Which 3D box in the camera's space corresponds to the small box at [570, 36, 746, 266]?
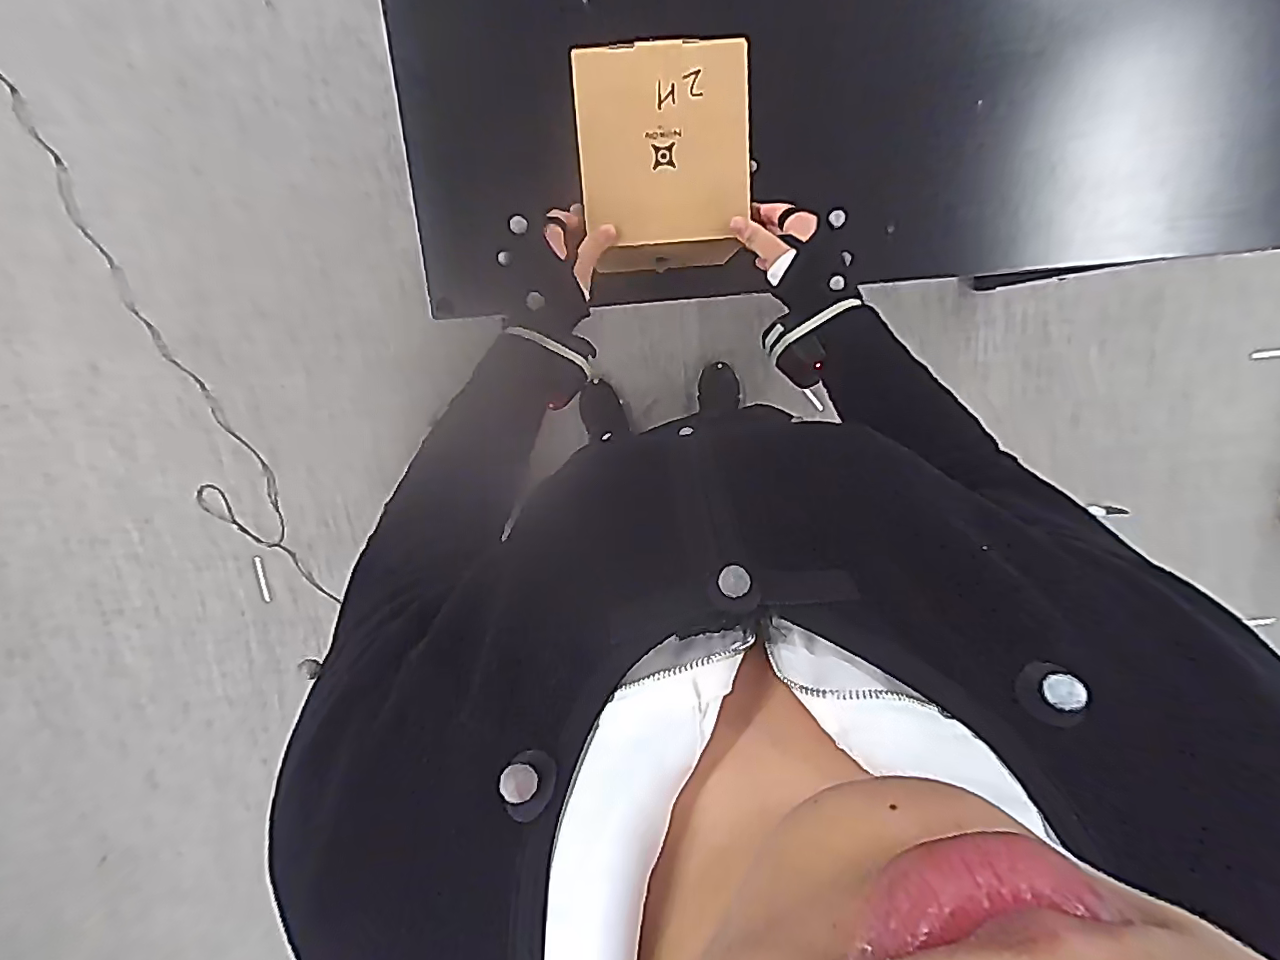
[{"bbox_3d":[0.021,-0.340,0.598,0.168,0.176,0.179,-4,103,0],"label":"small box"}]
